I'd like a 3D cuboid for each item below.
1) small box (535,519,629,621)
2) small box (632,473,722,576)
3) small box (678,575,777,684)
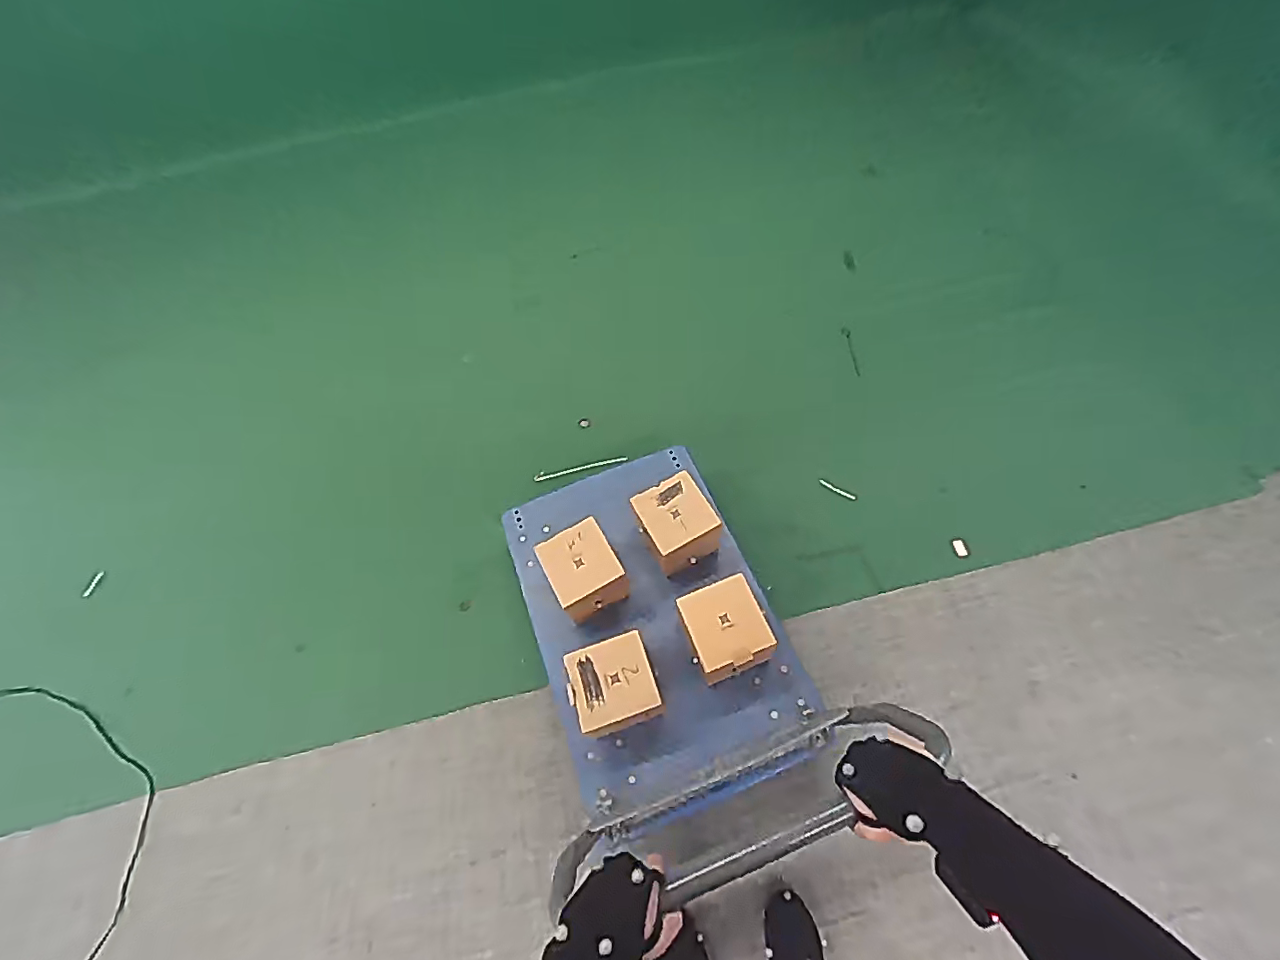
[{"bbox_3d":[-0.138,0.233,1.346,0.168,0.176,0.179,-28,63,-10],"label":"small box"},{"bbox_3d":[0.093,0.118,1.386,0.168,0.176,0.179,-28,63,-9],"label":"small box"},{"bbox_3d":[0.194,0.351,1.253,0.168,0.176,0.179,-21,62,-6],"label":"small box"}]
